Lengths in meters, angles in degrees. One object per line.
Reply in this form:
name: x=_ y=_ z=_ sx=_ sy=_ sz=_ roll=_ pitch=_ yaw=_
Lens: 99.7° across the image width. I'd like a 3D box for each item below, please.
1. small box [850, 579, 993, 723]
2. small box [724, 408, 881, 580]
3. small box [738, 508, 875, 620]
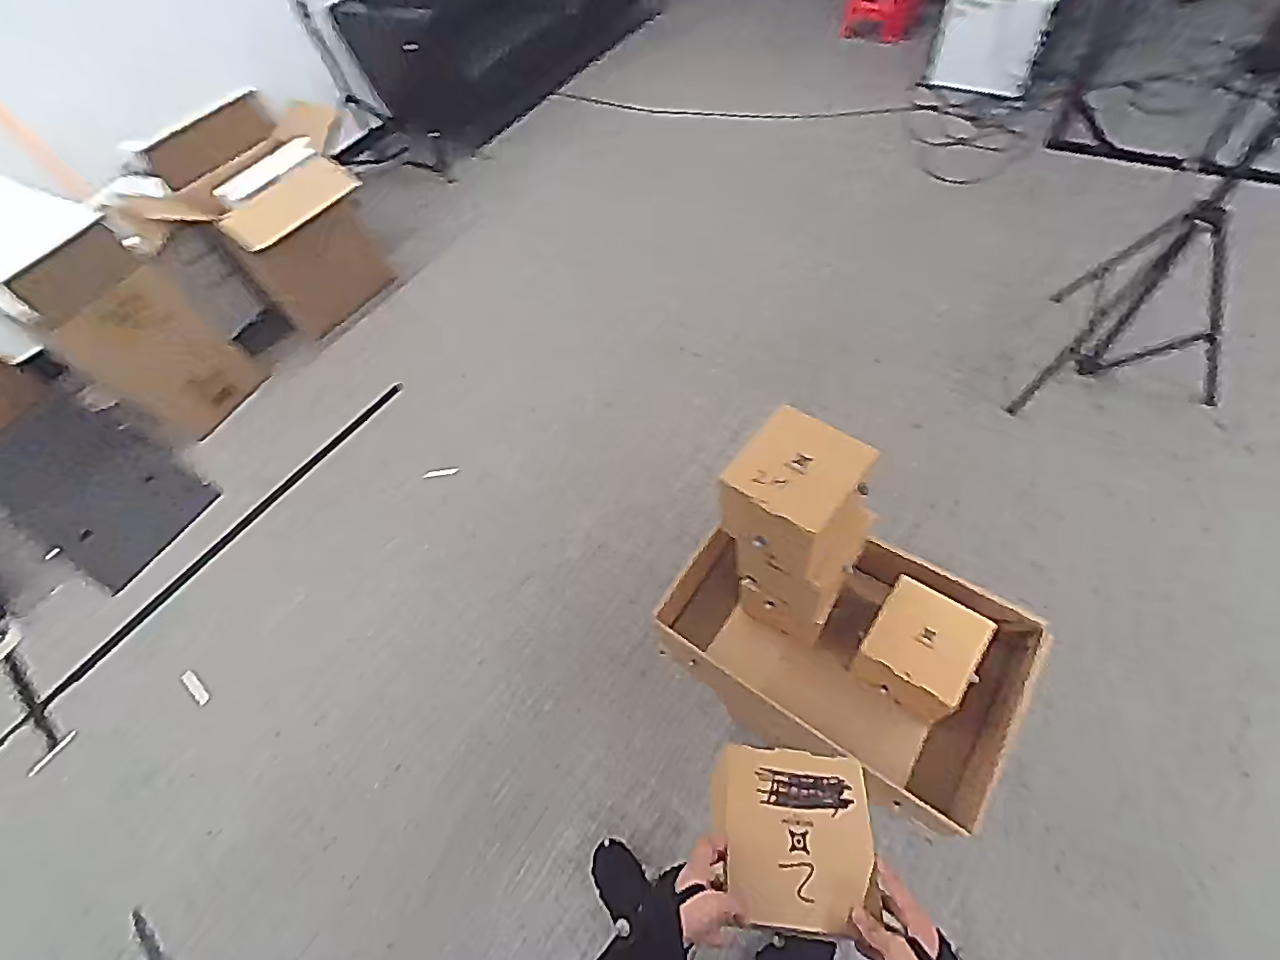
small box: x=0.517 y=0.325 z=1.018 sx=0.168 sy=0.176 sz=0.179 roll=30 pitch=68 yaw=26
small box: x=0.249 y=0.025 z=0.864 sx=0.168 sy=0.176 sz=0.179 roll=34 pitch=69 yaw=27
small box: x=0.298 y=0.126 z=0.988 sx=0.168 sy=0.176 sz=0.179 roll=33 pitch=68 yaw=26
